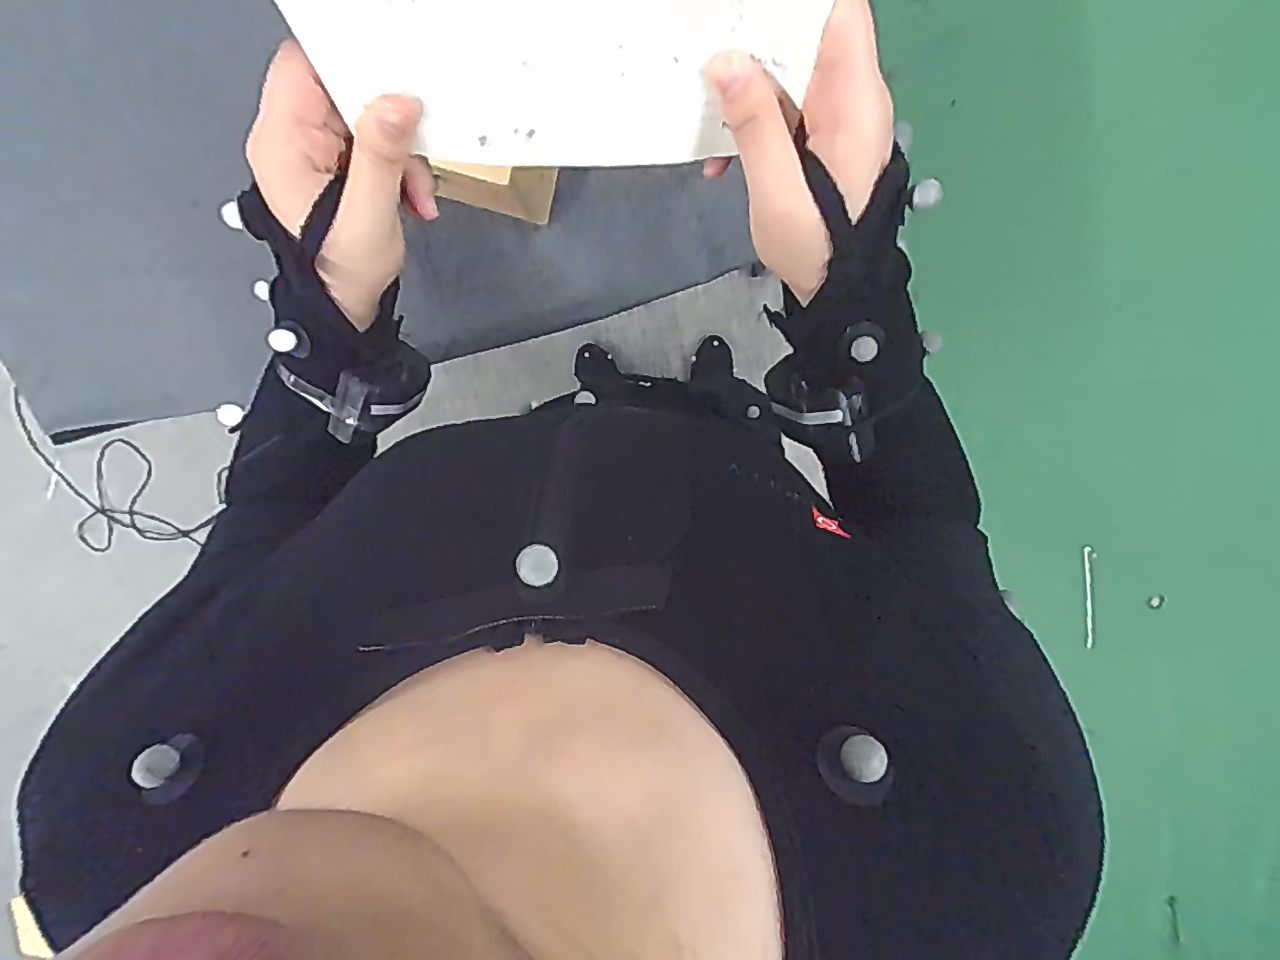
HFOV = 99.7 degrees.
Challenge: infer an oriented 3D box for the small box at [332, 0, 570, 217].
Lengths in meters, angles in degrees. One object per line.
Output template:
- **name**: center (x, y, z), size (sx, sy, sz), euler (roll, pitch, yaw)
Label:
- **small box**: center (-0.184, -0.395, 0.571), size (0.179, 0.176, 0.168), euler (15, 105, 0)
